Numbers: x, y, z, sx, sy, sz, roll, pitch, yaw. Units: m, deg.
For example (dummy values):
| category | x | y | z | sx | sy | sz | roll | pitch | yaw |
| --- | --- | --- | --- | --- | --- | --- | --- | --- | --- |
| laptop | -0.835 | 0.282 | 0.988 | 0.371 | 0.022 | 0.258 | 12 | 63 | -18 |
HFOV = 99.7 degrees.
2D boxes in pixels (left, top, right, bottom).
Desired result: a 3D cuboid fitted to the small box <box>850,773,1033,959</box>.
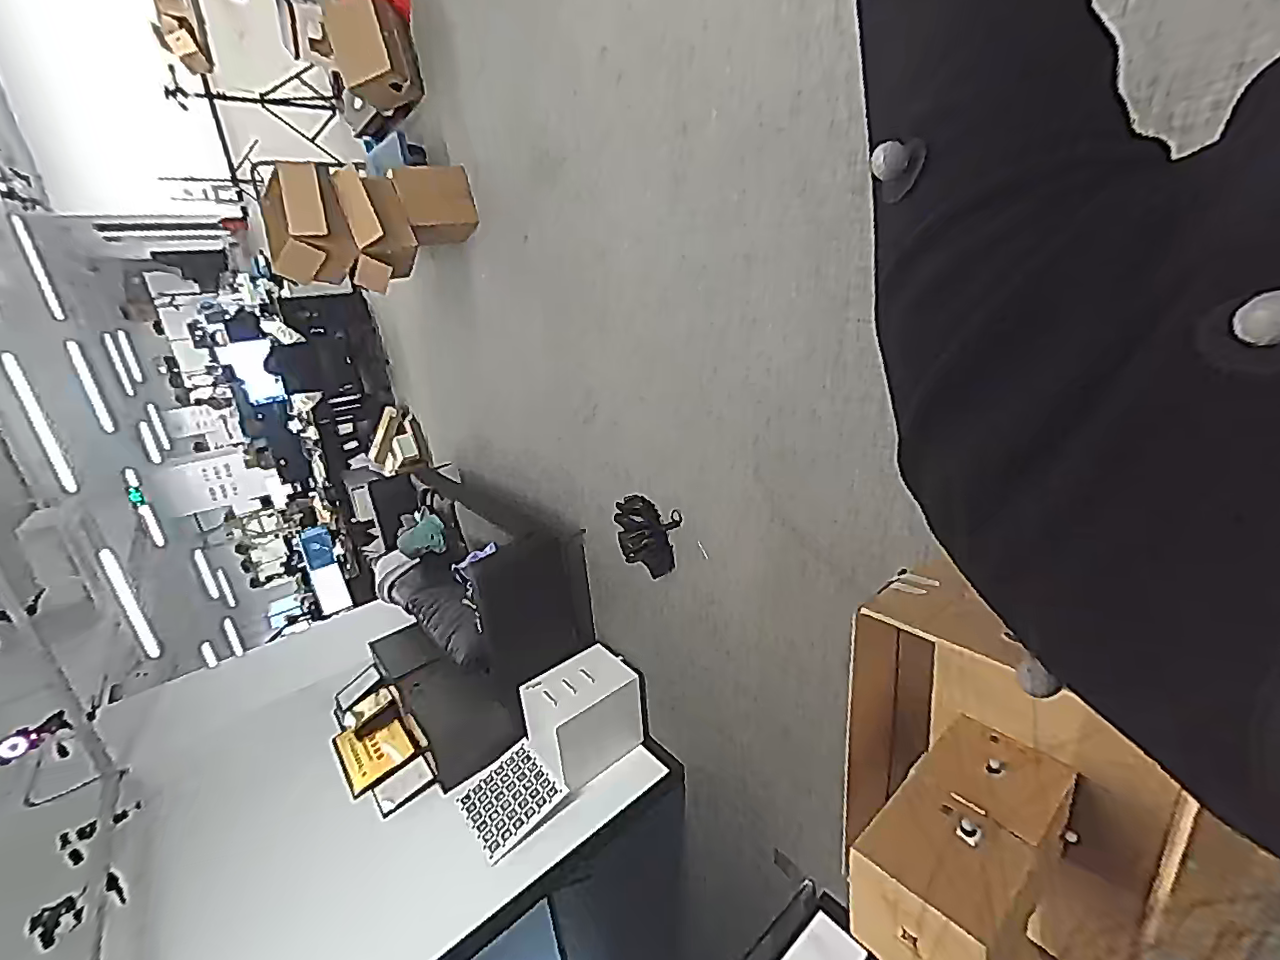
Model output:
| category | x | y | z | sx | sy | sz | roll | pitch | yaw |
| --- | --- | --- | --- | --- | --- | --- | --- | --- | --- |
| small box | 0.404 | 0.550 | 0.730 | 0.168 | 0.176 | 0.179 | 14 | 117 | 49 |
